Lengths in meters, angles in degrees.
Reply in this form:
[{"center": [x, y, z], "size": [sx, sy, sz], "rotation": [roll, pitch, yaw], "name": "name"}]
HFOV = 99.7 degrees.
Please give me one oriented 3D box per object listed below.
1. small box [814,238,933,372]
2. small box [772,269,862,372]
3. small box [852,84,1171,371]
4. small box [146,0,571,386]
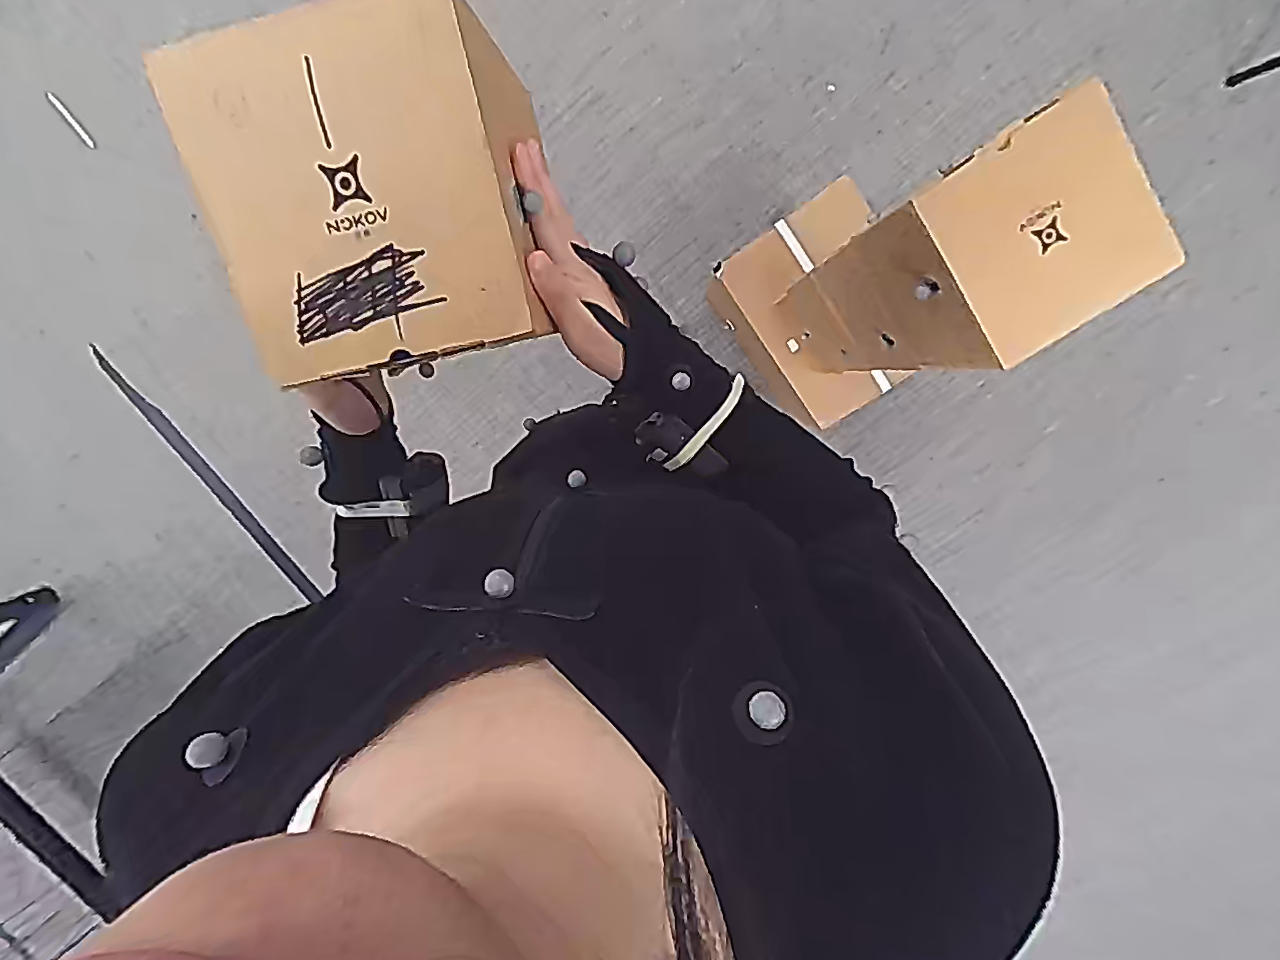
[{"center": [0.355, -0.259, 0.700], "size": [0.168, 0.176, 0.179], "rotation": [-33, 98, 9], "name": "small box"}, {"center": [0.373, -0.321, 1.023], "size": [0.168, 0.176, 0.179], "rotation": [-37, 98, 10], "name": "small box"}, {"center": [0.346, -0.228, 0.541], "size": [0.168, 0.176, 0.179], "rotation": [-33, 98, 10], "name": "small box"}, {"center": [-0.154, -0.174, 0.368], "size": [0.168, 0.176, 0.179], "rotation": [-10, 106, 6], "name": "small box"}]
